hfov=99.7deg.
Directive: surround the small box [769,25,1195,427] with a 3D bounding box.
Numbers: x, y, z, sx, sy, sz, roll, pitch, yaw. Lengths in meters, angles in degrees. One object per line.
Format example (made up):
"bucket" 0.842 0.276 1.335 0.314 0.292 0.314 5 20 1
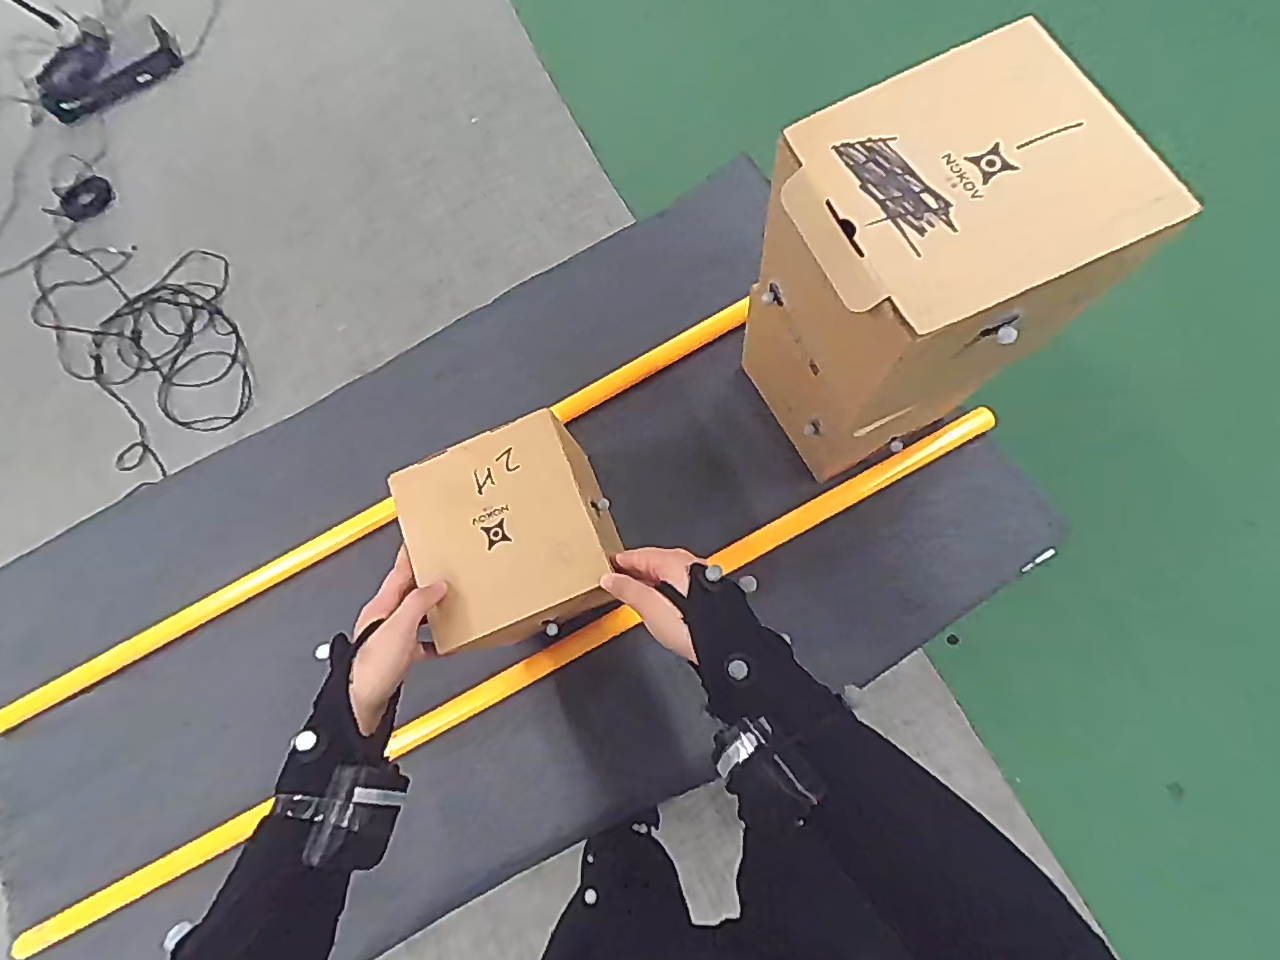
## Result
"small box" 0.207 -0.161 0.396 0.179 0.176 0.168 -24 75 0
